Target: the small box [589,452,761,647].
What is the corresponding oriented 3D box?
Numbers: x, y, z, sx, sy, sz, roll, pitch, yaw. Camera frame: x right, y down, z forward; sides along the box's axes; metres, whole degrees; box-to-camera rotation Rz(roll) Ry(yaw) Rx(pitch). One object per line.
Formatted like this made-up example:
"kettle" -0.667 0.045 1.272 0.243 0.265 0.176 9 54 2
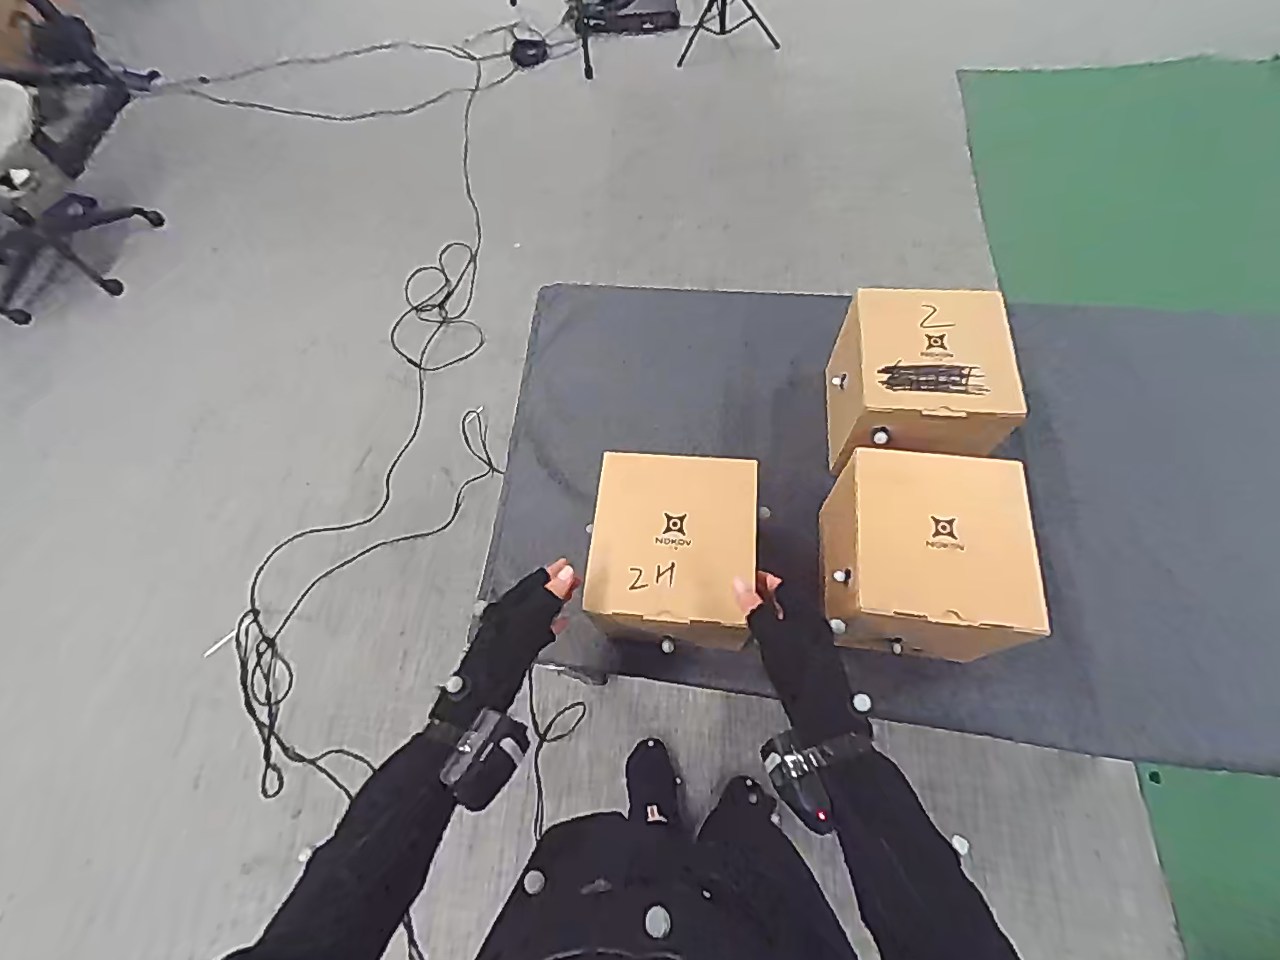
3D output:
"small box" 0.046 0.085 0.622 0.168 0.176 0.179 3 66 8
